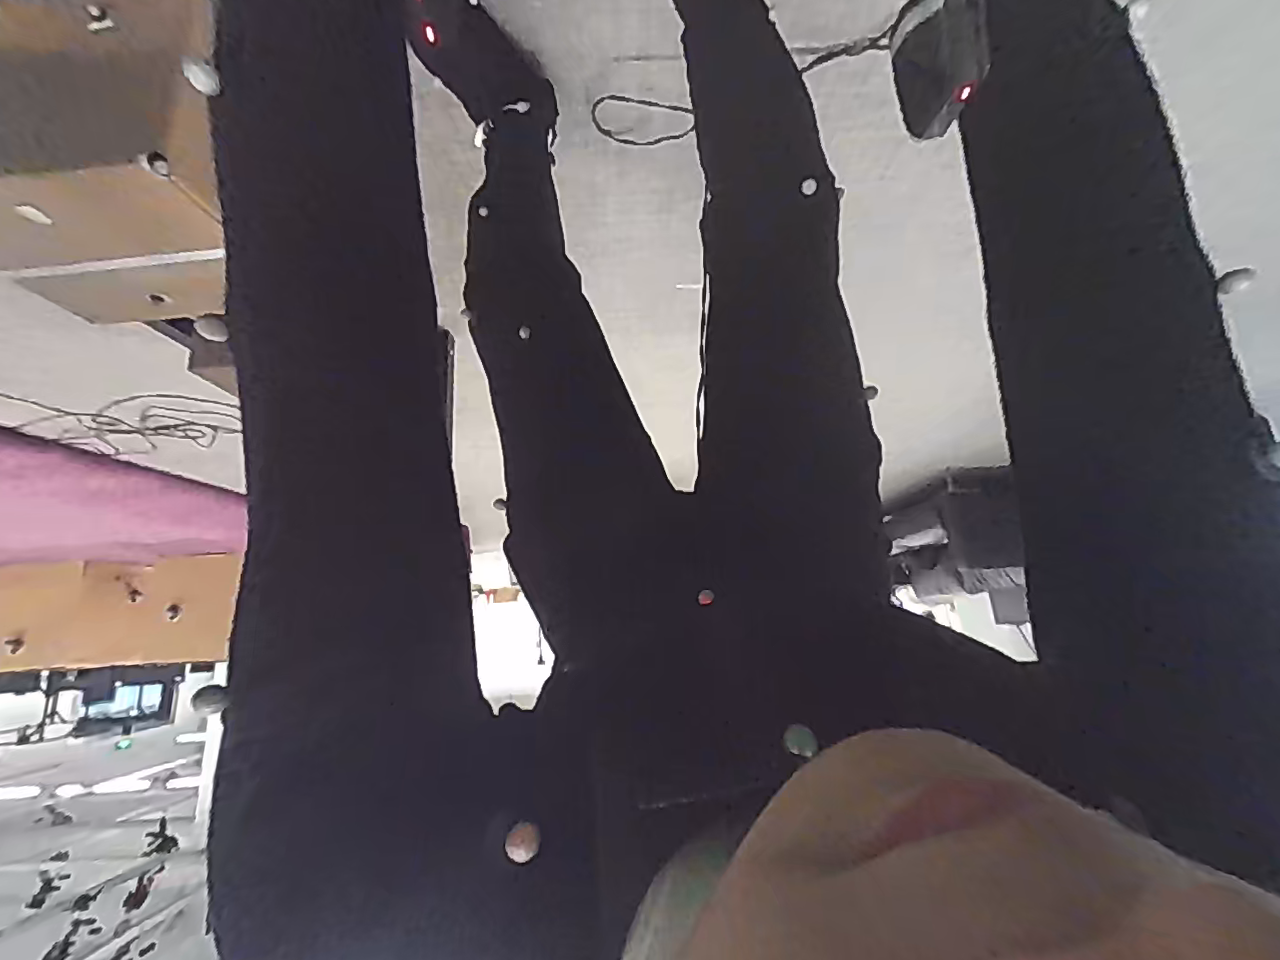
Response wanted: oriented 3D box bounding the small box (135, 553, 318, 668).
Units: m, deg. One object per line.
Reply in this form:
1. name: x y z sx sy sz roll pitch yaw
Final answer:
1. small box: -0.675 0.218 0.906 0.179 0.176 0.168 -2 167 -1

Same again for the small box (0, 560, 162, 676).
1. small box: -0.949 0.229 0.895 0.179 0.176 0.168 -4 165 -1
